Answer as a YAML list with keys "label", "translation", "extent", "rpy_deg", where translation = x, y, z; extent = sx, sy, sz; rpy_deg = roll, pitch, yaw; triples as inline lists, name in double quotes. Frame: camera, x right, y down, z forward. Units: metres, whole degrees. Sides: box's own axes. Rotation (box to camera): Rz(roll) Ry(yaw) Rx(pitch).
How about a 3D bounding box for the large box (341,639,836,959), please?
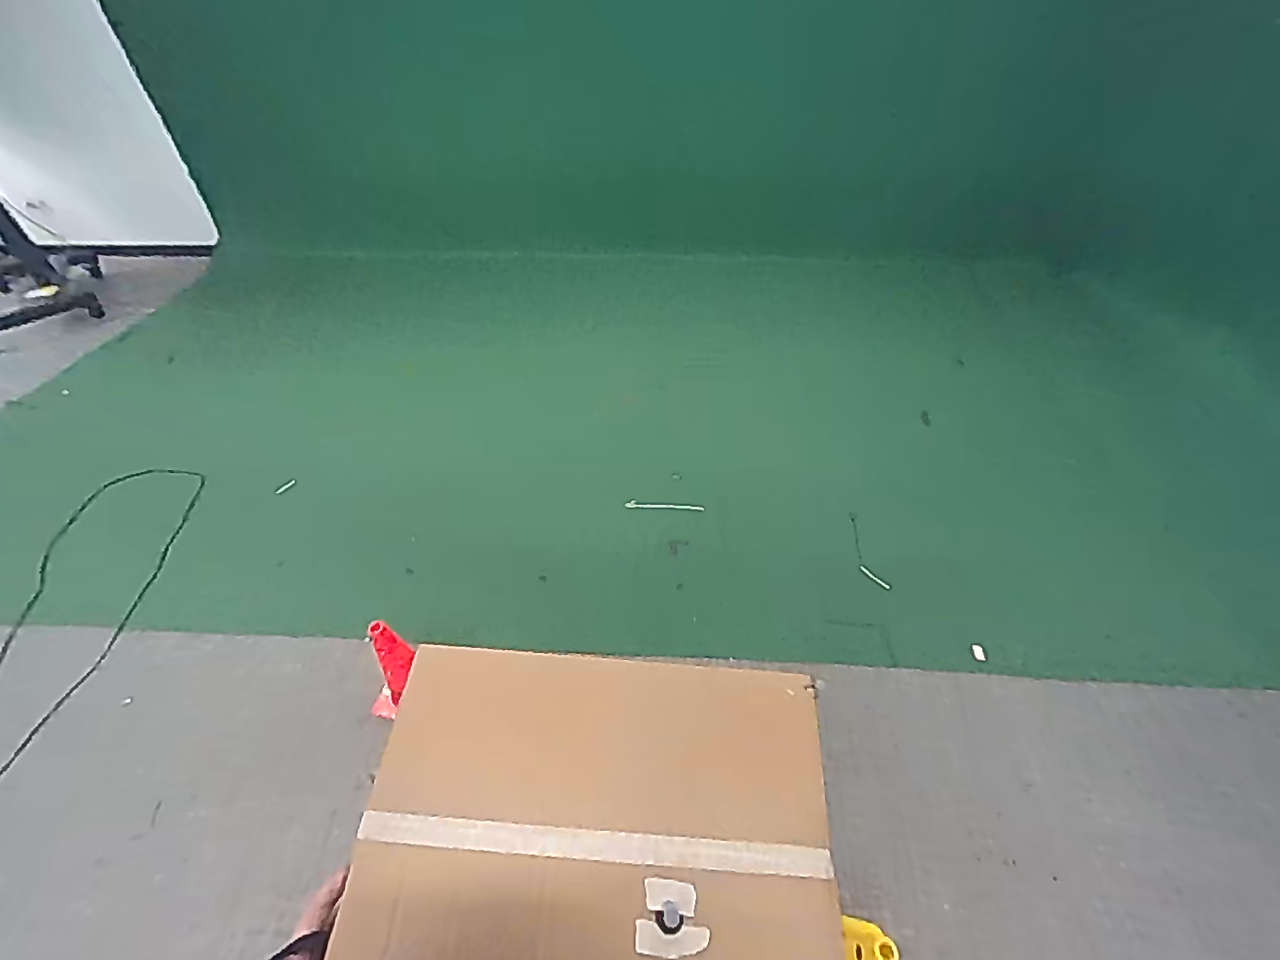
- label: "large box"
  translation: [-0.039, 0.390, 0.607]
  extent: [0.408, 0.320, 0.320]
  rpy_deg: [4, 57, 1]

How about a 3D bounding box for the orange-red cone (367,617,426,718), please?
- label: "orange-red cone"
  translation: [-0.698, 0.506, 1.543]
  extent: [0.199, 0.360, 0.198]
  rpy_deg: [6, 44, 10]
